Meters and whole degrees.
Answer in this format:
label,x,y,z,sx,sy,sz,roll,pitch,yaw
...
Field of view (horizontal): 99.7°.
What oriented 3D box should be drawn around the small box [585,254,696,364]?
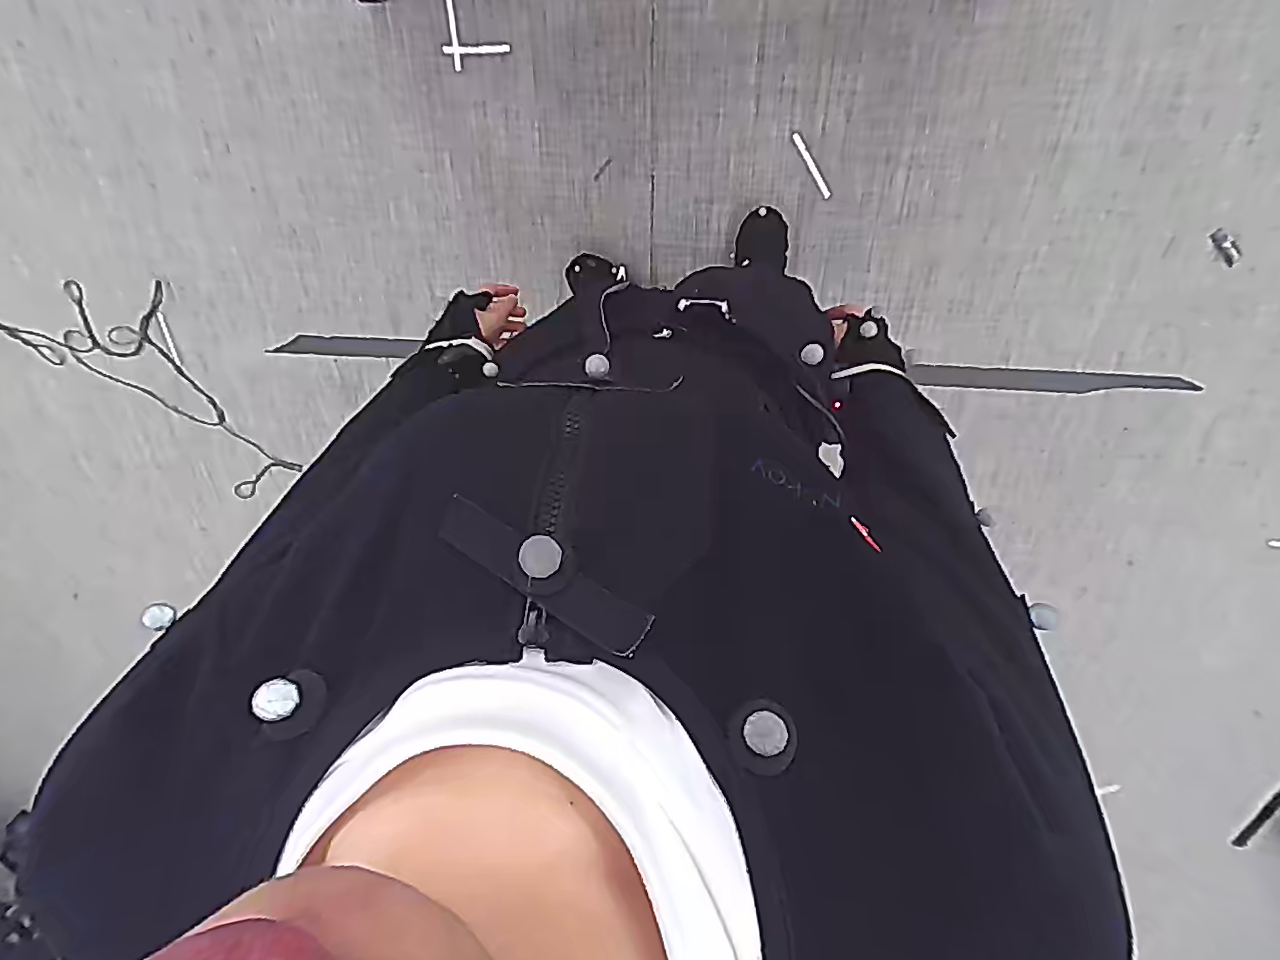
label,x,y,z,sx,sy,sz,roll,pitch,yaw
small box,0.003,-0.366,1.159,0.179,0.176,0.168,-38,105,16
